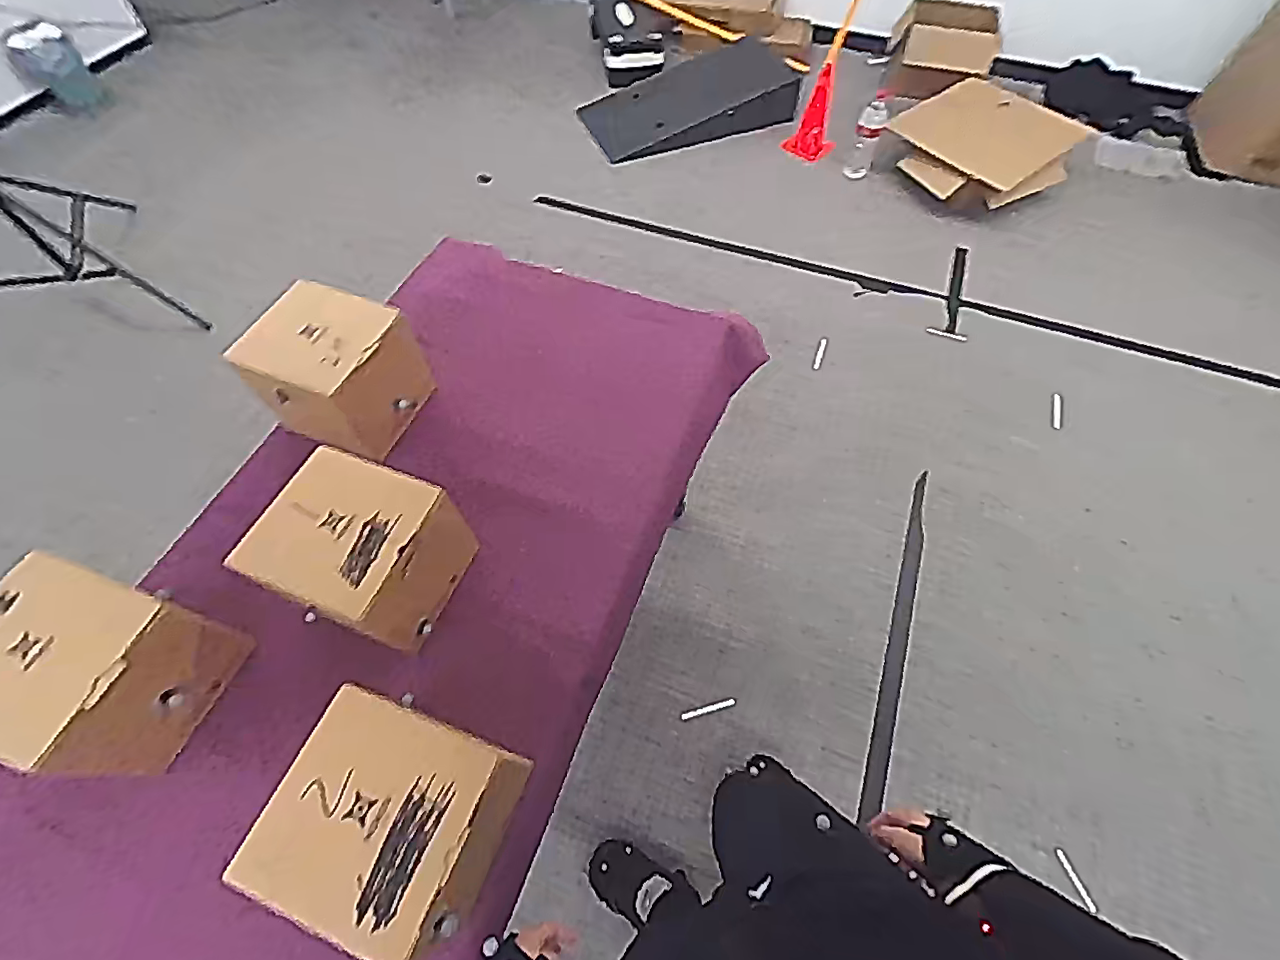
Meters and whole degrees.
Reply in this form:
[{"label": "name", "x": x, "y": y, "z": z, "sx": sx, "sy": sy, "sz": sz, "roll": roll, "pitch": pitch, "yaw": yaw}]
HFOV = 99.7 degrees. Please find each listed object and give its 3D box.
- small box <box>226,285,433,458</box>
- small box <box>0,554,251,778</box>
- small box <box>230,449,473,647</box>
[{"label": "small box", "x": -0.448, "y": -0.156, "z": 0.815, "sx": 0.179, "sy": 0.176, "sz": 0.168, "roll": 19, "pitch": 63, "yaw": 9}, {"label": "small box", "x": -0.595, "y": 0.211, "z": 0.602, "sx": 0.179, "sy": 0.176, "sz": 0.168, "roll": 19, "pitch": 61, "yaw": 7}, {"label": "small box", "x": -0.337, "y": 0.093, "z": 0.676, "sx": 0.179, "sy": 0.176, "sz": 0.168, "roll": 19, "pitch": 62, "yaw": 11}]
